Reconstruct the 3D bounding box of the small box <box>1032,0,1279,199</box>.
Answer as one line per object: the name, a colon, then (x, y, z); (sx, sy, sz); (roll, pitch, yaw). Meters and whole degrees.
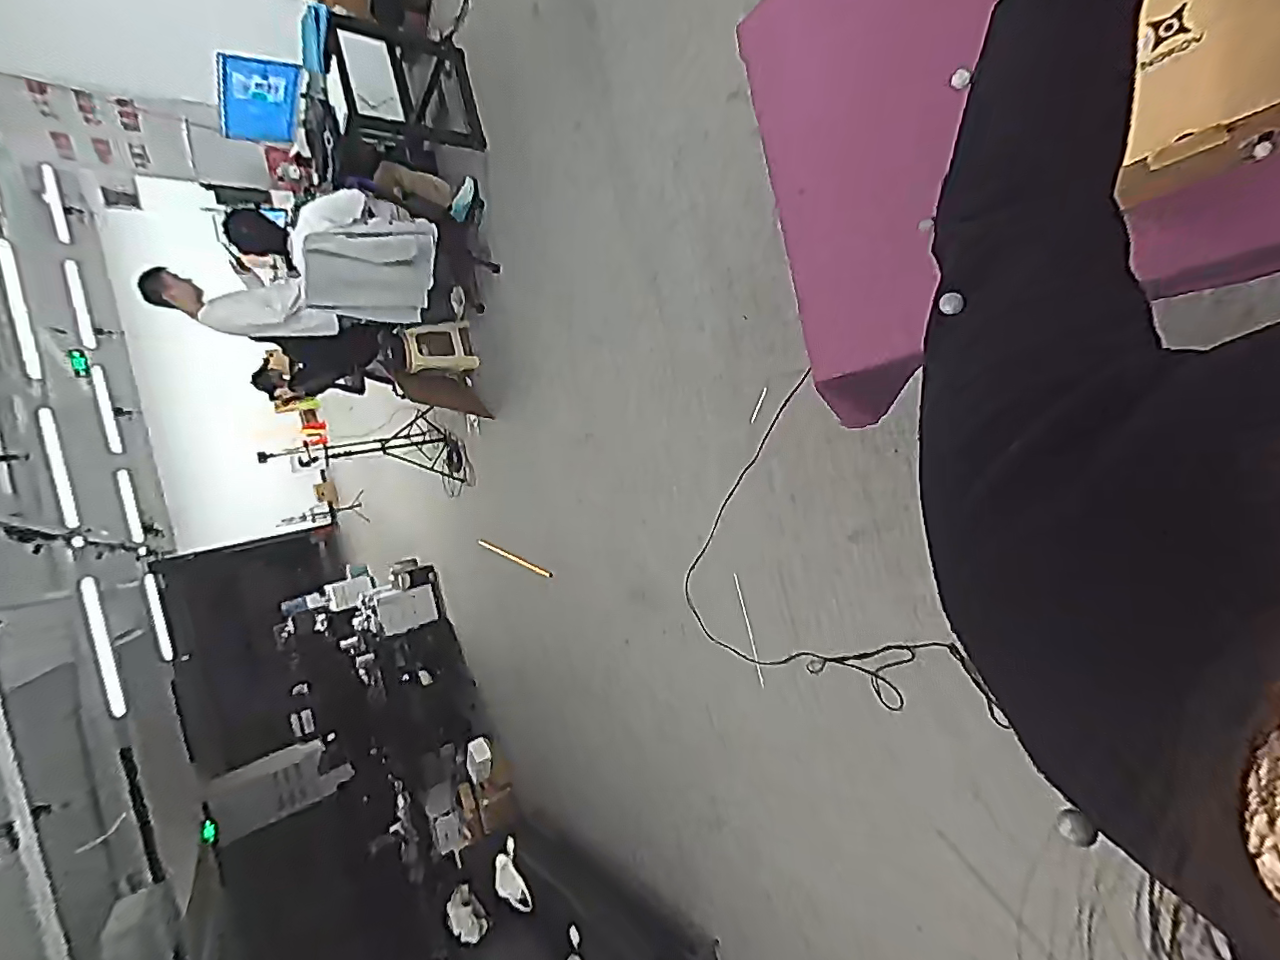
small box: (0.479, -0.369, 0.475); (0.168, 0.176, 0.179); (-6, 95, 53)
